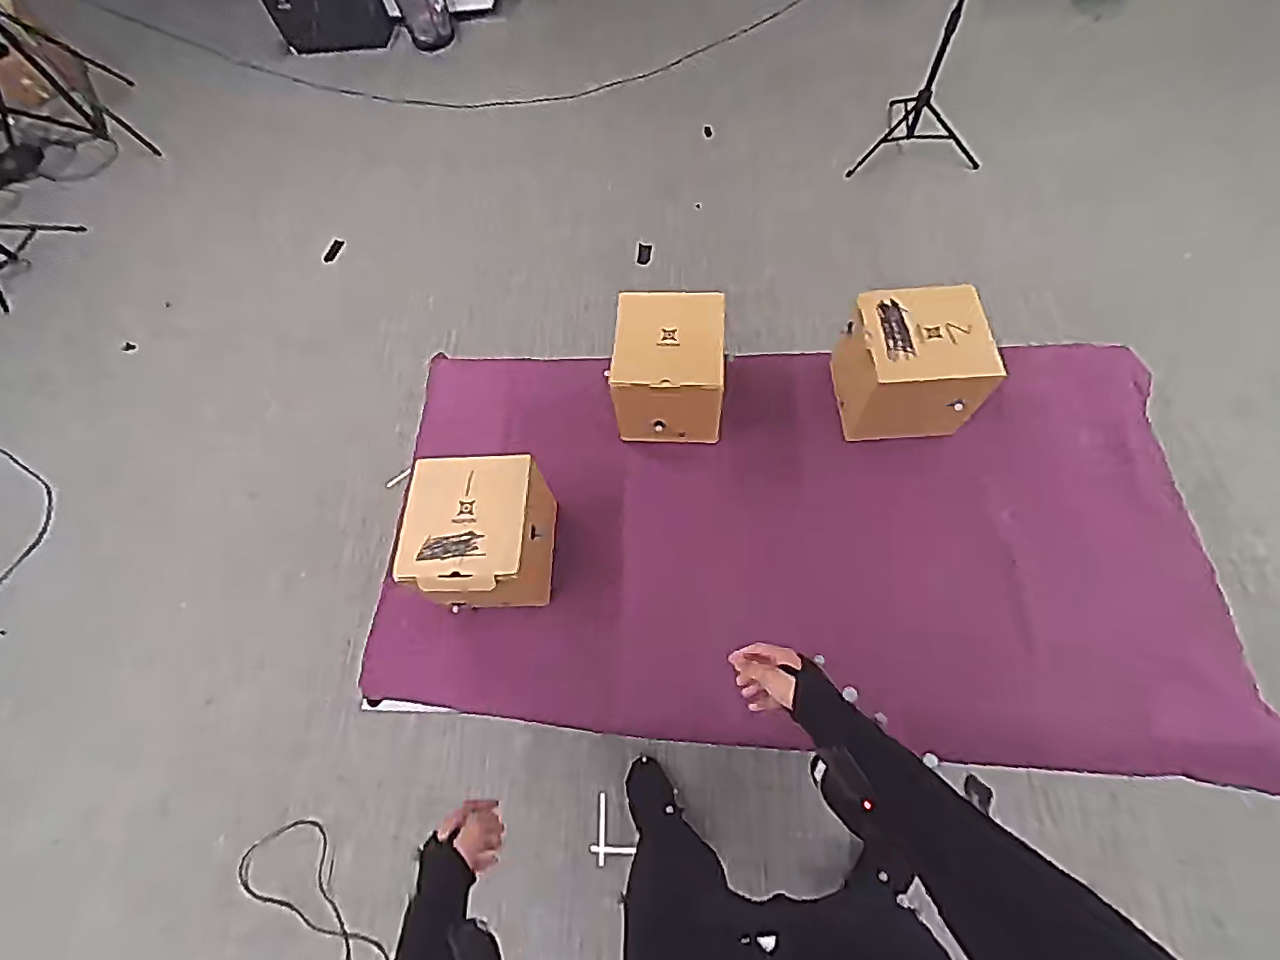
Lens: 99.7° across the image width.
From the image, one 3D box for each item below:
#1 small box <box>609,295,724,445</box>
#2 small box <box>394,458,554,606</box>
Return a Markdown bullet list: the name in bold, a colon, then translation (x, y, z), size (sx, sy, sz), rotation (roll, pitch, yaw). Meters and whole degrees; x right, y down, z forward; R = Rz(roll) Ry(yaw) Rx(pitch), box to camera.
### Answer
- **small box**: translation (0.047, -0.175, 0.882), size (0.168, 0.176, 0.179), rotation (2, 66, 5)
- **small box**: translation (-0.227, 0.084, 0.789), size (0.168, 0.176, 0.179), rotation (-2, 64, 4)
